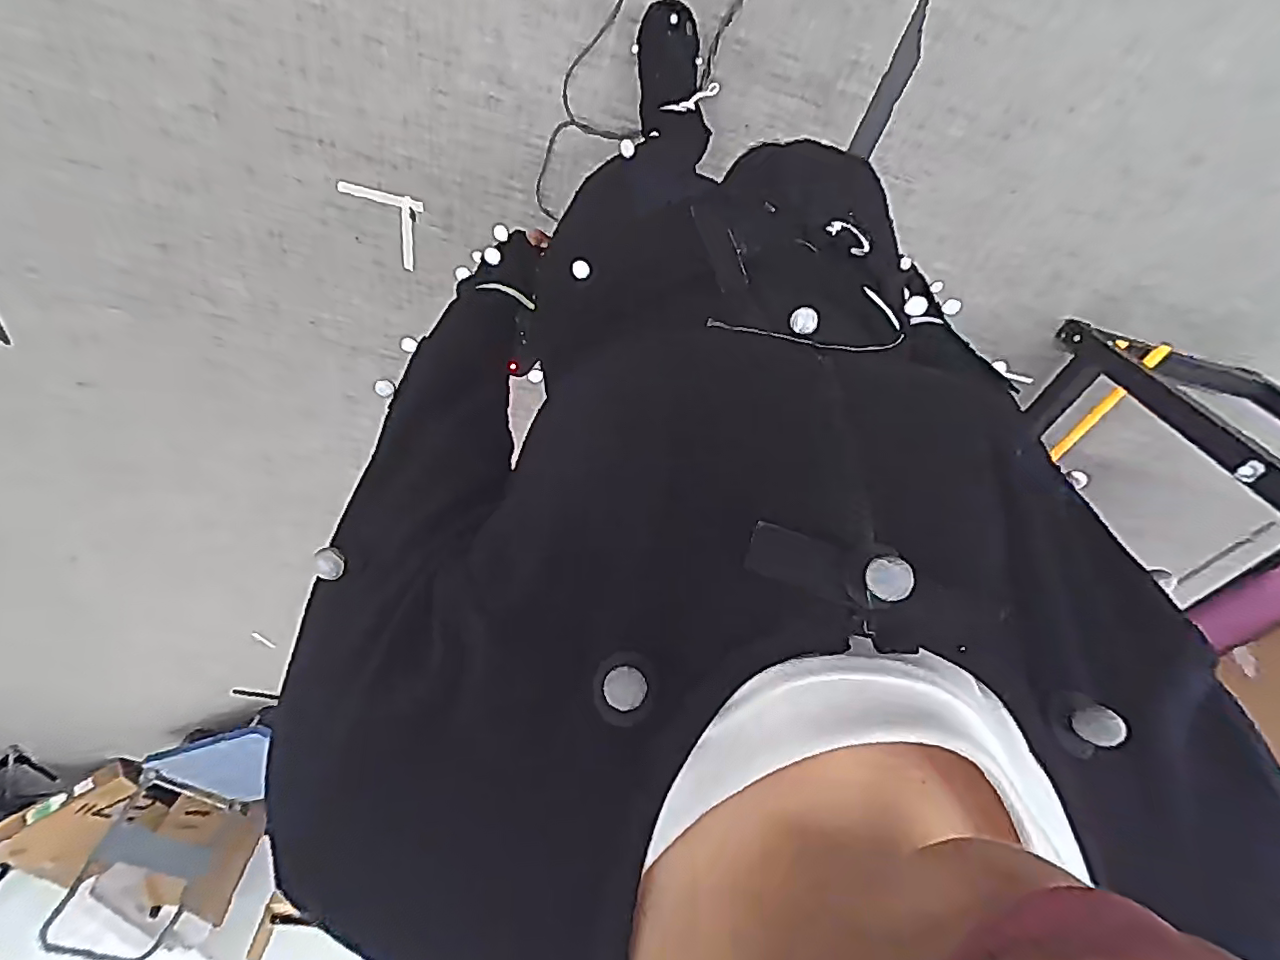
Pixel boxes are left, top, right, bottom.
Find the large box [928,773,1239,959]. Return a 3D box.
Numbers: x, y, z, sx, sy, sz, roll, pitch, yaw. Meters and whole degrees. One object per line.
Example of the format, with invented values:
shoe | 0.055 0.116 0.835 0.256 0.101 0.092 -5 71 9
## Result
large box | 0.993 0.923 1.275 0.408 0.320 0.320 11 131 -11
